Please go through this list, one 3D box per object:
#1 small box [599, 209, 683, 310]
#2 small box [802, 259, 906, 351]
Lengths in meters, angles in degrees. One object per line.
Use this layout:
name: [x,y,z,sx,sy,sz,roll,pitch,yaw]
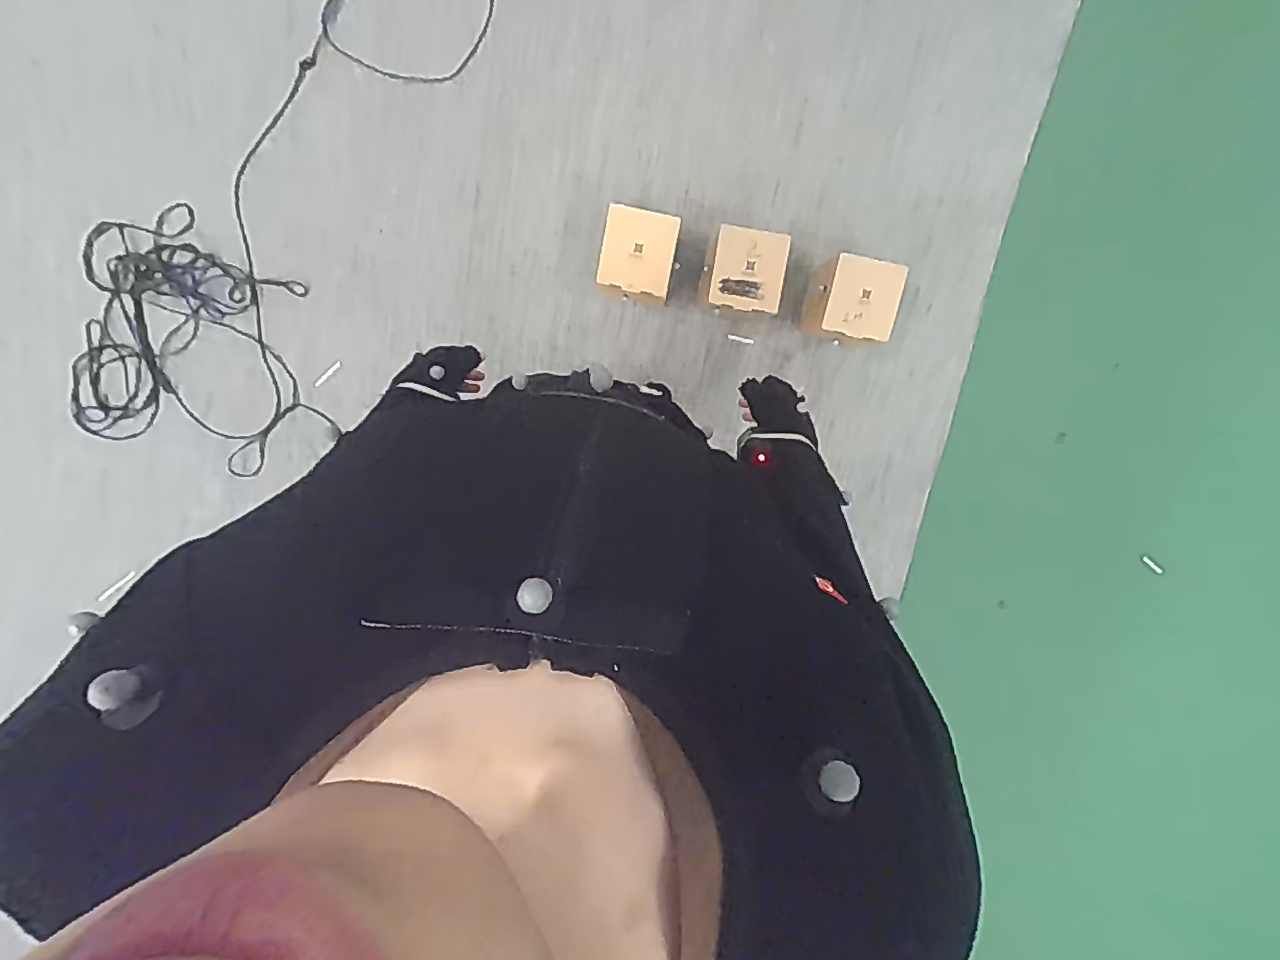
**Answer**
small box: [-0.001,-0.528,1.316,0.168,0.176,0.179,12,101,-2]
small box: [0.519,-0.425,1.339,0.168,0.176,0.179,12,101,-2]
